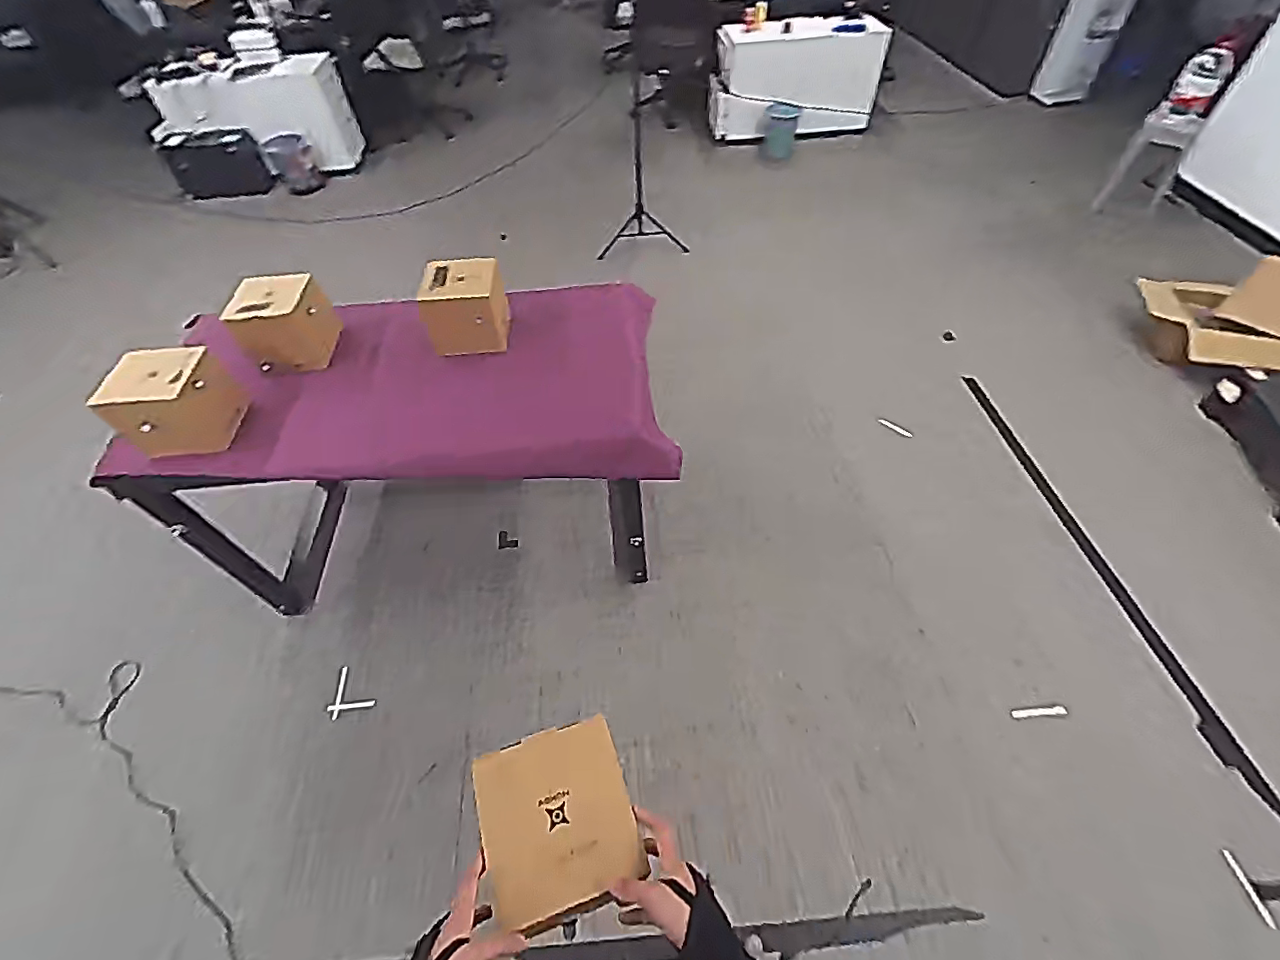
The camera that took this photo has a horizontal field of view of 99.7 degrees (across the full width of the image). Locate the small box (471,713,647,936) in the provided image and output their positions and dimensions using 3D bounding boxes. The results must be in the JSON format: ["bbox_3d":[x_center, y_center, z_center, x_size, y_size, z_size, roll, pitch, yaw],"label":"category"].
[{"bbox_3d":[-0.100,0.423,0.664,0.168,0.176,0.179,-14,51,-14],"label":"small box"}]

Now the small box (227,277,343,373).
[{"bbox_3d":[-0.884,-0.385,1.369,0.168,0.176,0.179,-5,52,-2],"label":"small box"}]

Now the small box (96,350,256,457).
[{"bbox_3d":[-1.014,-0.165,1.201,0.179,0.176,0.168,-5,53,-1],"label":"small box"}]
